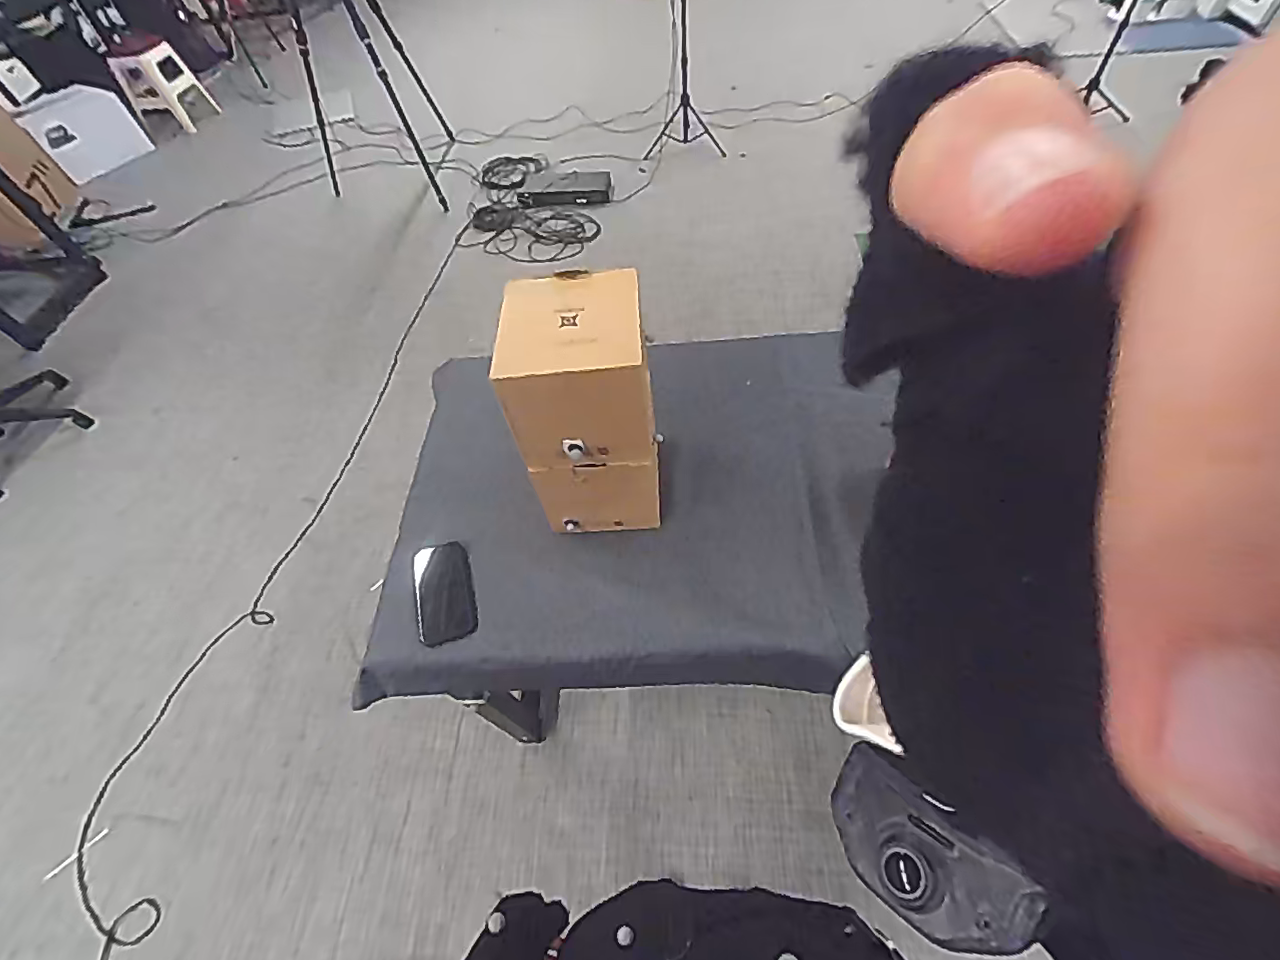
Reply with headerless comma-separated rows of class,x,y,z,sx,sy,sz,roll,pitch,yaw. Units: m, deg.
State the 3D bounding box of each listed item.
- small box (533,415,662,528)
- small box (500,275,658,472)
small box,-0.054,-0.036,0.820,0.168,0.176,0.179,-3,53,3
small box,-0.067,-0.132,0.691,0.168,0.176,0.179,-5,55,3
